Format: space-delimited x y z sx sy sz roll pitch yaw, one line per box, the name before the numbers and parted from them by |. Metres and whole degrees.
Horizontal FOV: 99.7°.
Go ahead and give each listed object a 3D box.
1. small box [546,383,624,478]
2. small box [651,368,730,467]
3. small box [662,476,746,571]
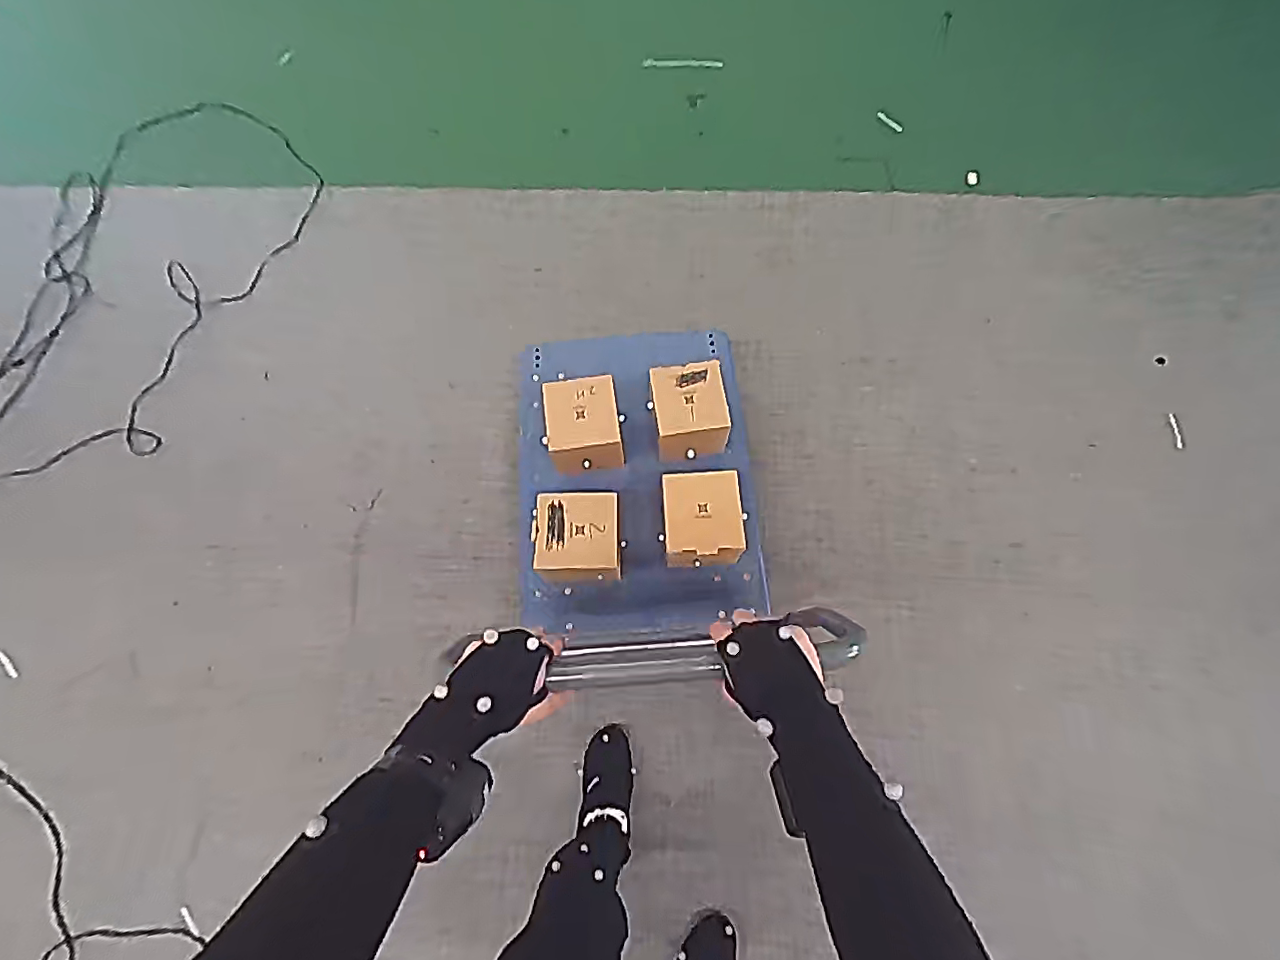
small box | -0.131 -0.113 1.330 0.168 0.176 0.179 -8 70 -2
small box | 0.118 -0.150 1.335 0.168 0.176 0.179 -8 71 0
small box | 0.139 0.104 1.245 0.168 0.176 0.179 -4 71 0
